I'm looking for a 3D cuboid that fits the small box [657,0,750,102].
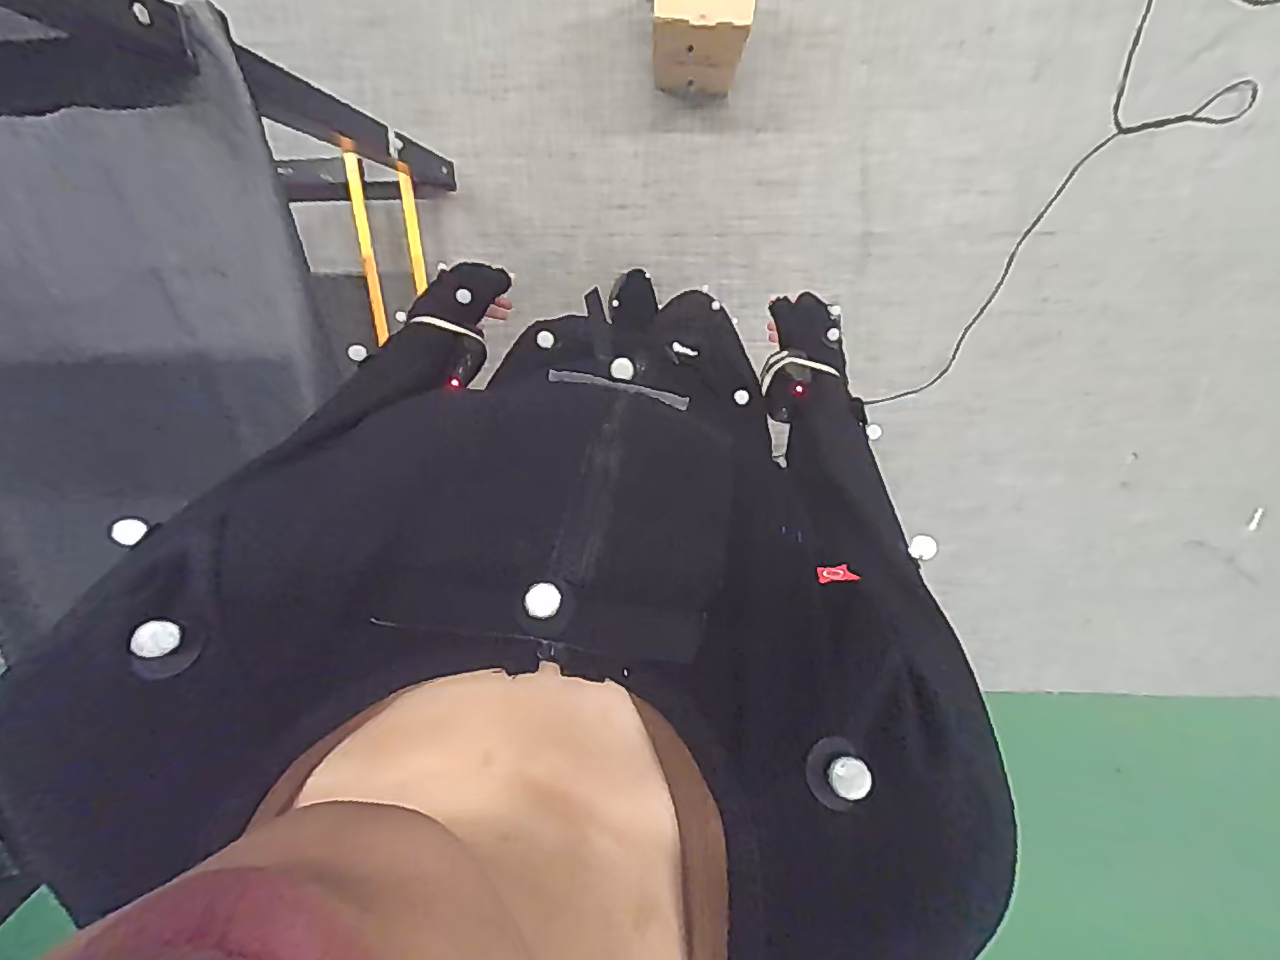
[{"bbox_3d":[0.124,-0.902,1.095,0.168,0.176,0.179,6,111,1],"label":"small box"}]
